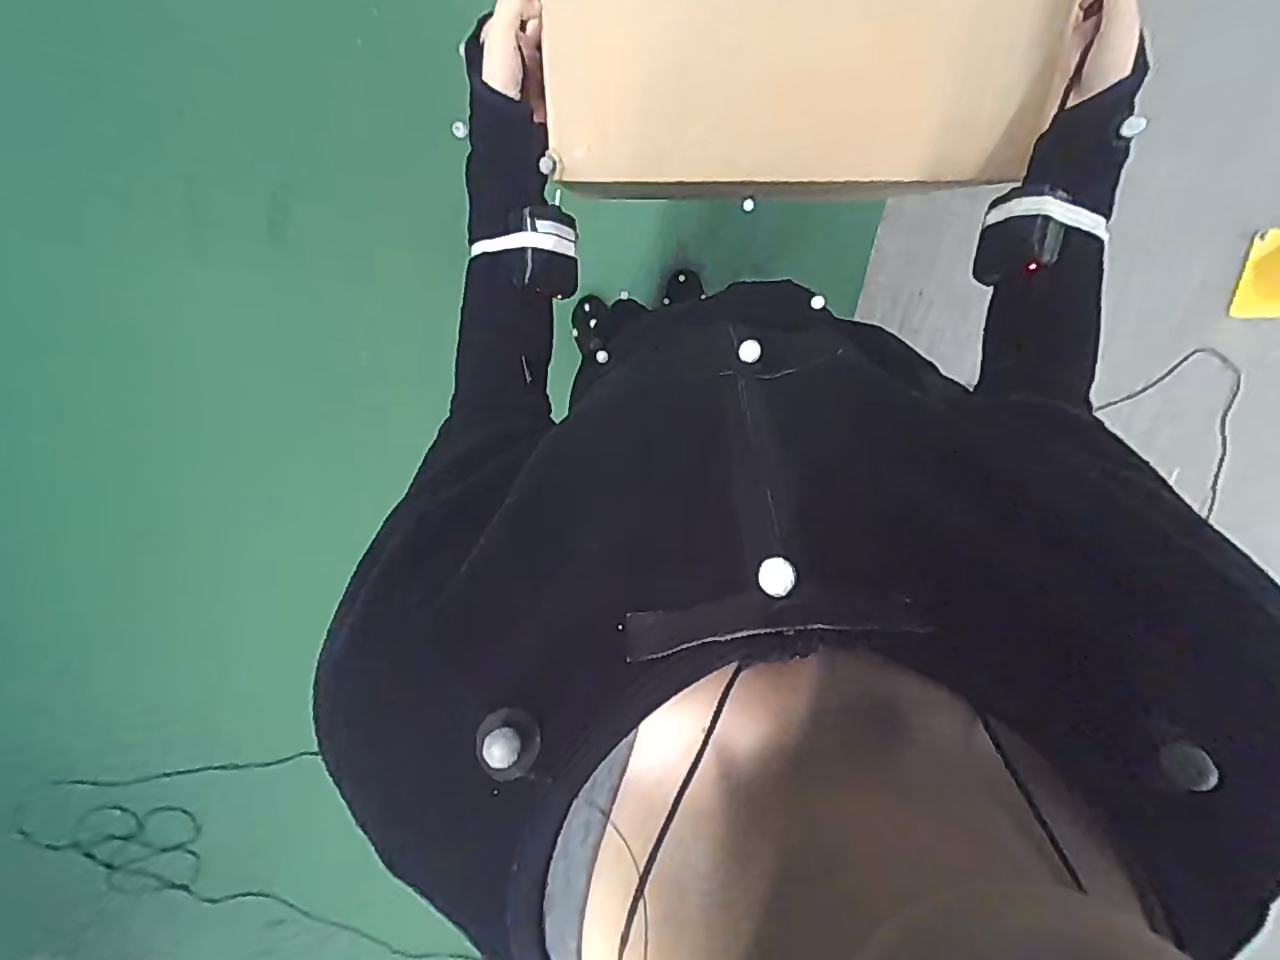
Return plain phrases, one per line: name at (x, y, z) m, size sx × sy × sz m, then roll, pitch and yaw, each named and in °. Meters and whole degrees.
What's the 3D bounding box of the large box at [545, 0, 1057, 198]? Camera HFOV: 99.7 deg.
large box at (0.124, -0.458, 0.536) m, size 0.408 × 0.320 × 0.320 m, roll 0°, pitch 114°, yaw -1°
